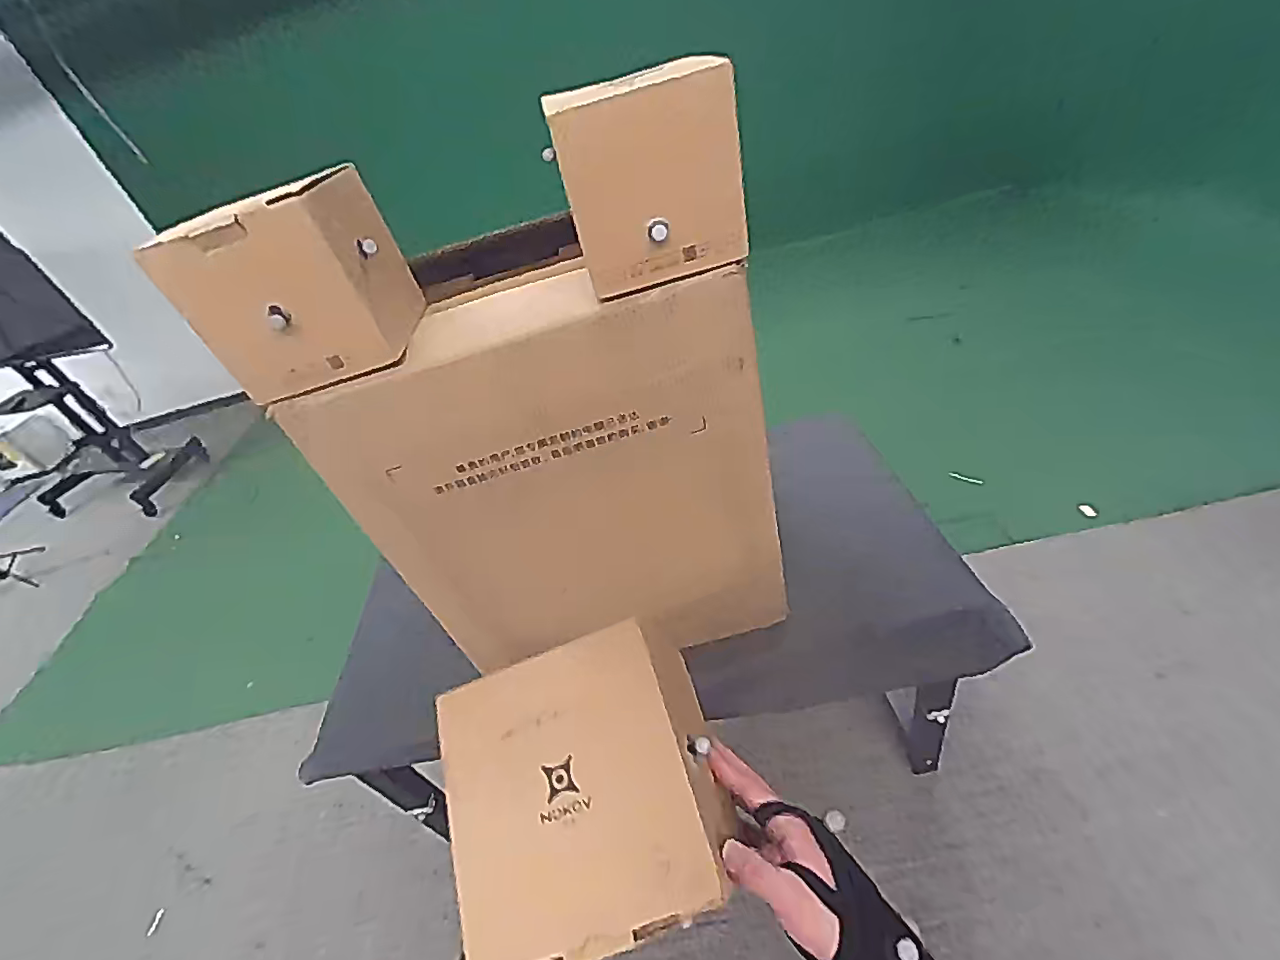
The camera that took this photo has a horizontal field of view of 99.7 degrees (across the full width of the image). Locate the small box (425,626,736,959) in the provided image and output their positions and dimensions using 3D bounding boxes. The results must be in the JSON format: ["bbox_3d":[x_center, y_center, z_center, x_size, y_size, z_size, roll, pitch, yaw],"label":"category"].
[{"bbox_3d":[-0.037,0.238,0.418,0.168,0.176,0.179,-24,59,4],"label":"small box"}]

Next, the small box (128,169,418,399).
[{"bbox_3d":[-0.367,-0.206,0.587,0.168,0.176,0.179,-17,39,4],"label":"small box"}]

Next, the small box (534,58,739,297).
[{"bbox_3d":[-0.004,-0.314,0.565,0.168,0.176,0.179,-16,40,2],"label":"small box"}]
